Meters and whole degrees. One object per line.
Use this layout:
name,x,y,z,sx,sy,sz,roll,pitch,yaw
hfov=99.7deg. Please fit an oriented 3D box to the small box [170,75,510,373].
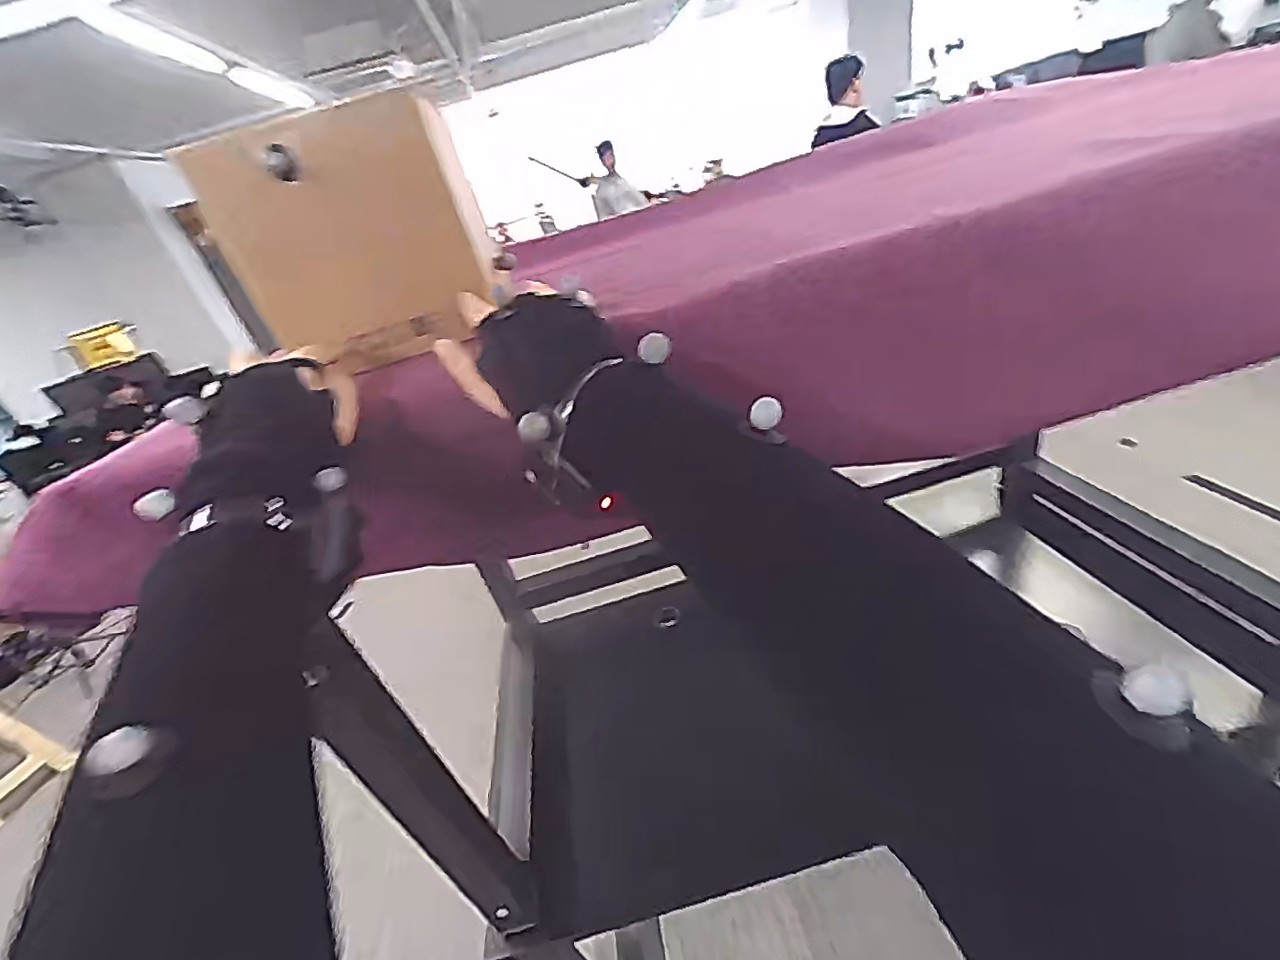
small box,-0.219,-0.206,0.460,0.168,0.176,0.179,-18,29,-1
